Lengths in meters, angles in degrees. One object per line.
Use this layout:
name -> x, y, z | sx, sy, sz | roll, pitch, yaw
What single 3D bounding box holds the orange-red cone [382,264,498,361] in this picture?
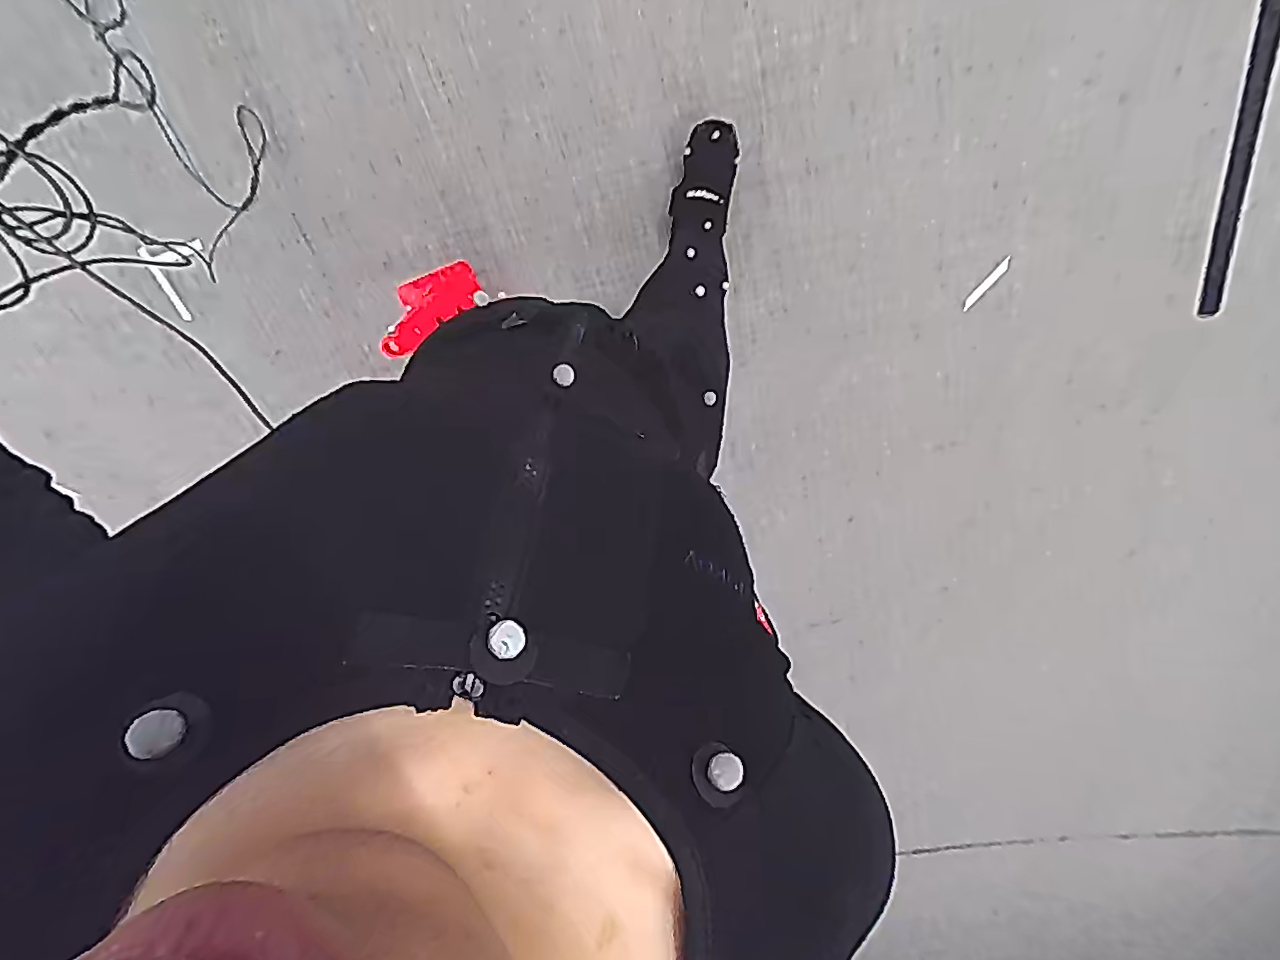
orange-red cone -> -0.466, -0.327, 1.167 | 0.199, 0.360, 0.198 | -18, 116, 8
